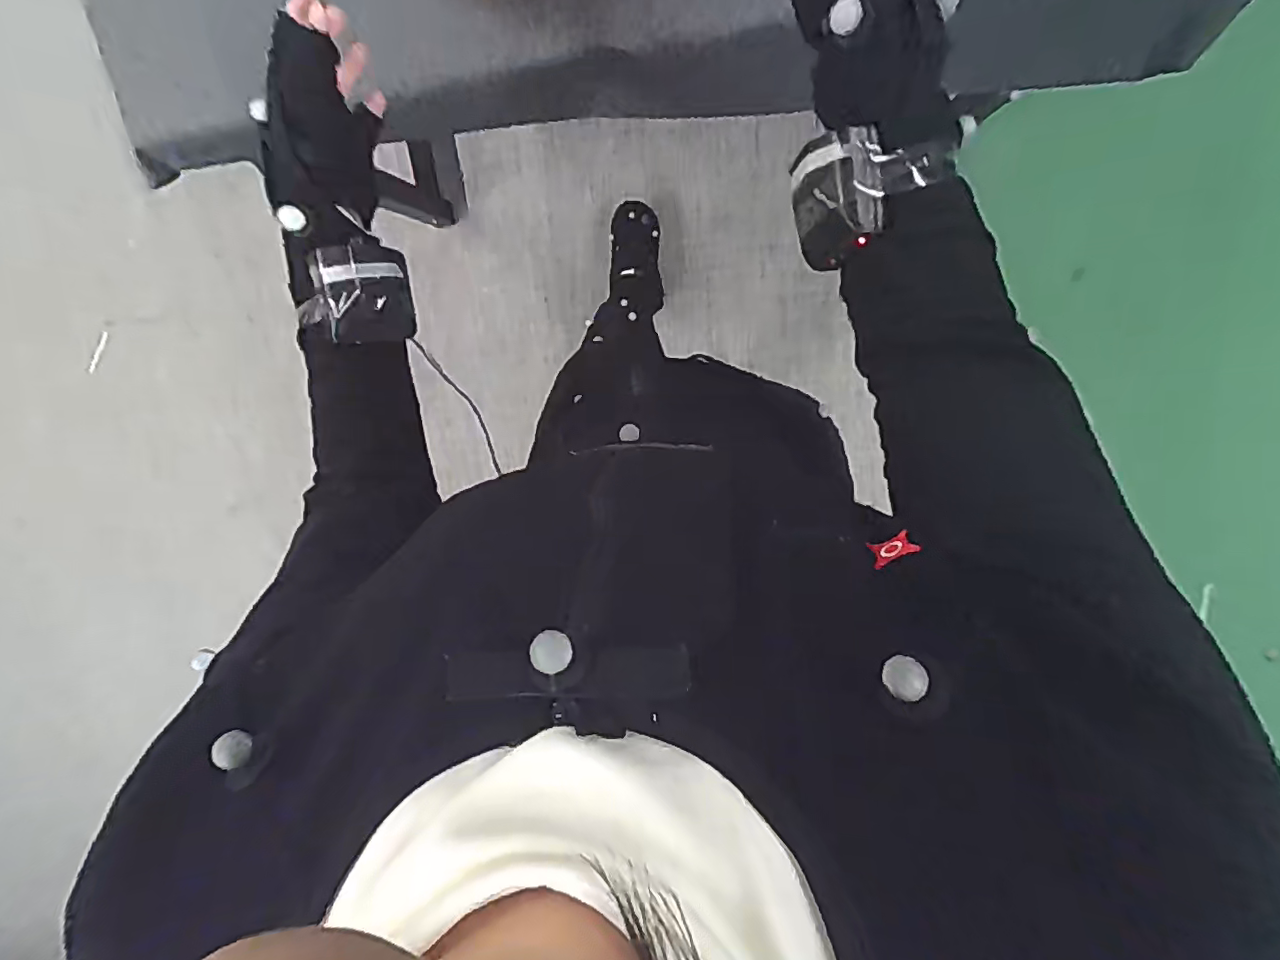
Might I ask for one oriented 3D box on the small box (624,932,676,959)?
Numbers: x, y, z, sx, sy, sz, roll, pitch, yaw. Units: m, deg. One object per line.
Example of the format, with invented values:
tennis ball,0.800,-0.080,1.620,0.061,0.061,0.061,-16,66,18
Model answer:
small box,0.033,1.749,1.912,0.179,0.176,0.168,-3,107,9
